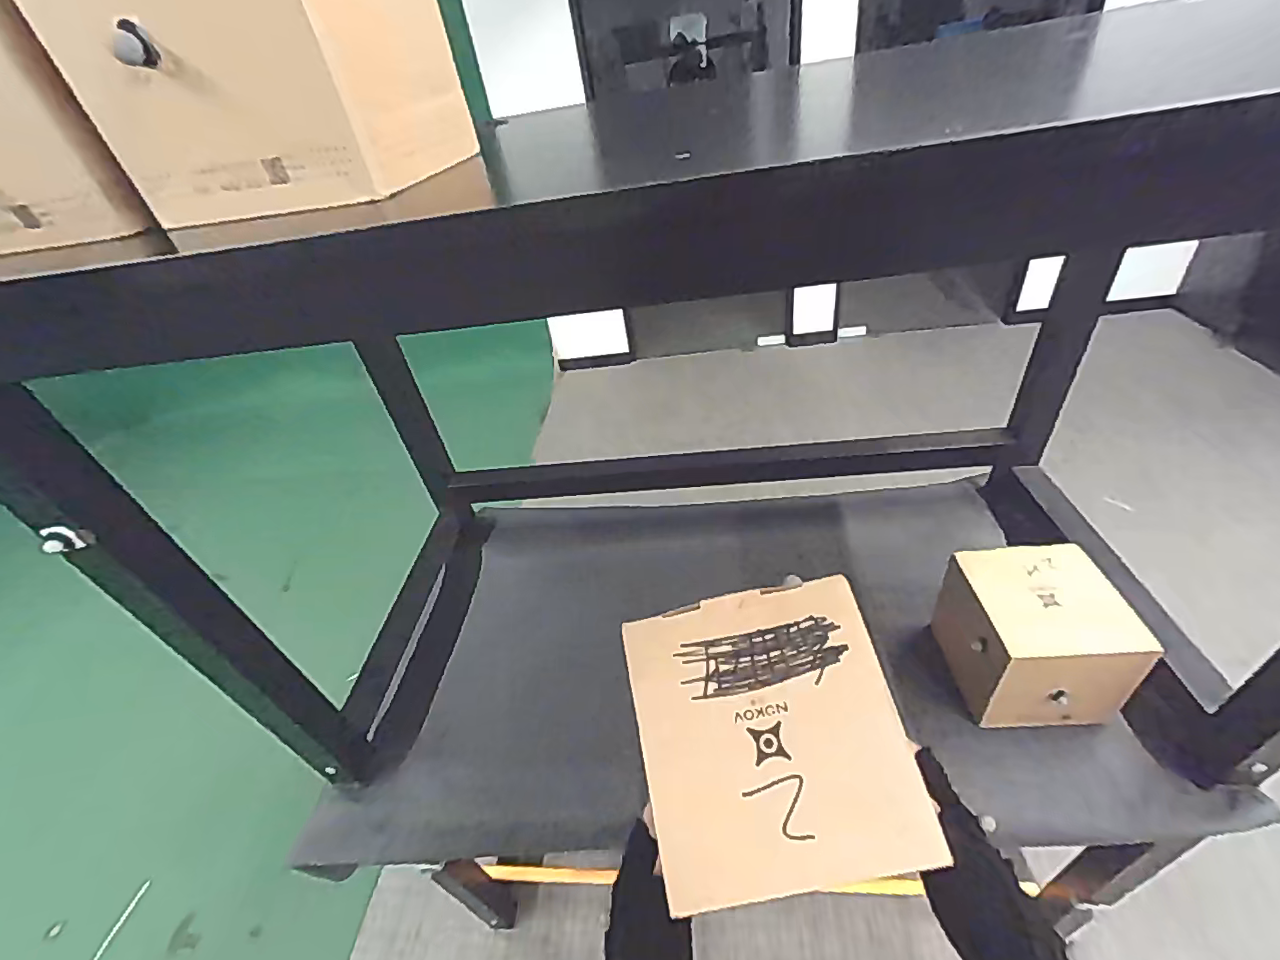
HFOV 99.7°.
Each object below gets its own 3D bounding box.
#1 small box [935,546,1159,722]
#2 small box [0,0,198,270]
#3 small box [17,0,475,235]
[{"bbox_3d":[0.535,0.216,0.744,0.168,0.176,0.179,-5,37,7],"label":"small box"},{"bbox_3d":[-0.423,-0.265,0.391,0.168,0.176,0.179,-5,40,7],"label":"small box"},{"bbox_3d":[-0.235,-0.276,0.366,0.168,0.176,0.179,-2,39,11],"label":"small box"}]
